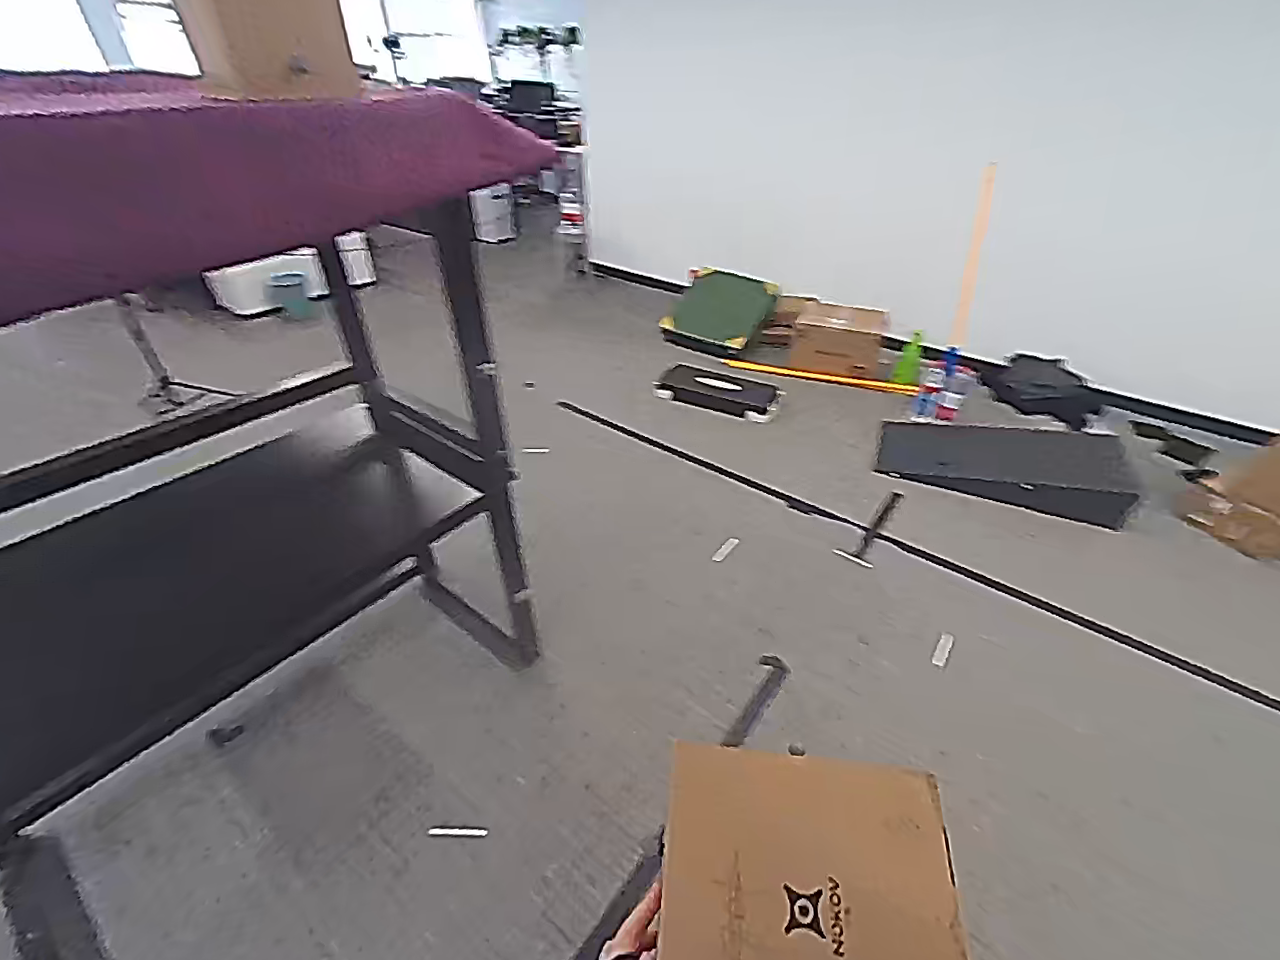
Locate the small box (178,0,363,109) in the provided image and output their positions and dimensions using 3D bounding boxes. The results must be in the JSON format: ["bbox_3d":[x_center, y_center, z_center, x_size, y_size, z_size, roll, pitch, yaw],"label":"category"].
[{"bbox_3d":[-0.526,-0.640,0.774,0.168,0.176,0.179,27,44,32],"label":"small box"}]
